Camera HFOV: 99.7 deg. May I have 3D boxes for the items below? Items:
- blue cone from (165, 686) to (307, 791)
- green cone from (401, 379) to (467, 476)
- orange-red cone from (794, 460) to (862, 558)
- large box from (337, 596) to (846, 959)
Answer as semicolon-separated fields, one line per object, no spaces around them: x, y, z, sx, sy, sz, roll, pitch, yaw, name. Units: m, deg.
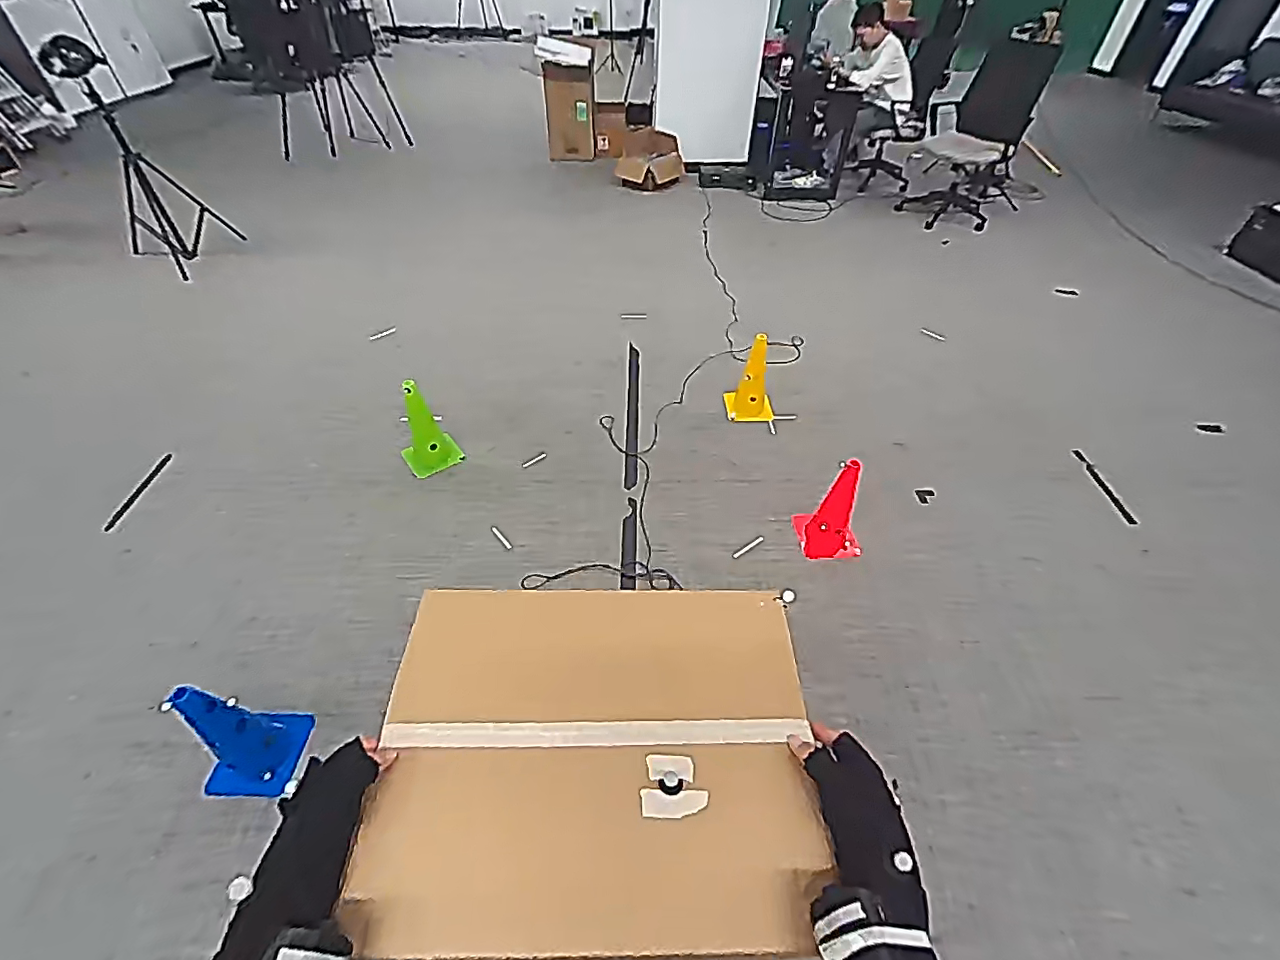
-0.977;0.583;1.277;0.192;0.380;0.193;2;45;2;blue cone
-0.824;-0.227;2.052;0.202;0.368;0.200;-29;52;-25;green cone
0.661;0.074;1.787;0.198;0.360;0.199;-1;44;-3;orange-red cone
-0.043;0.347;0.625;0.408;0.320;0.320;1;47;-2;large box
